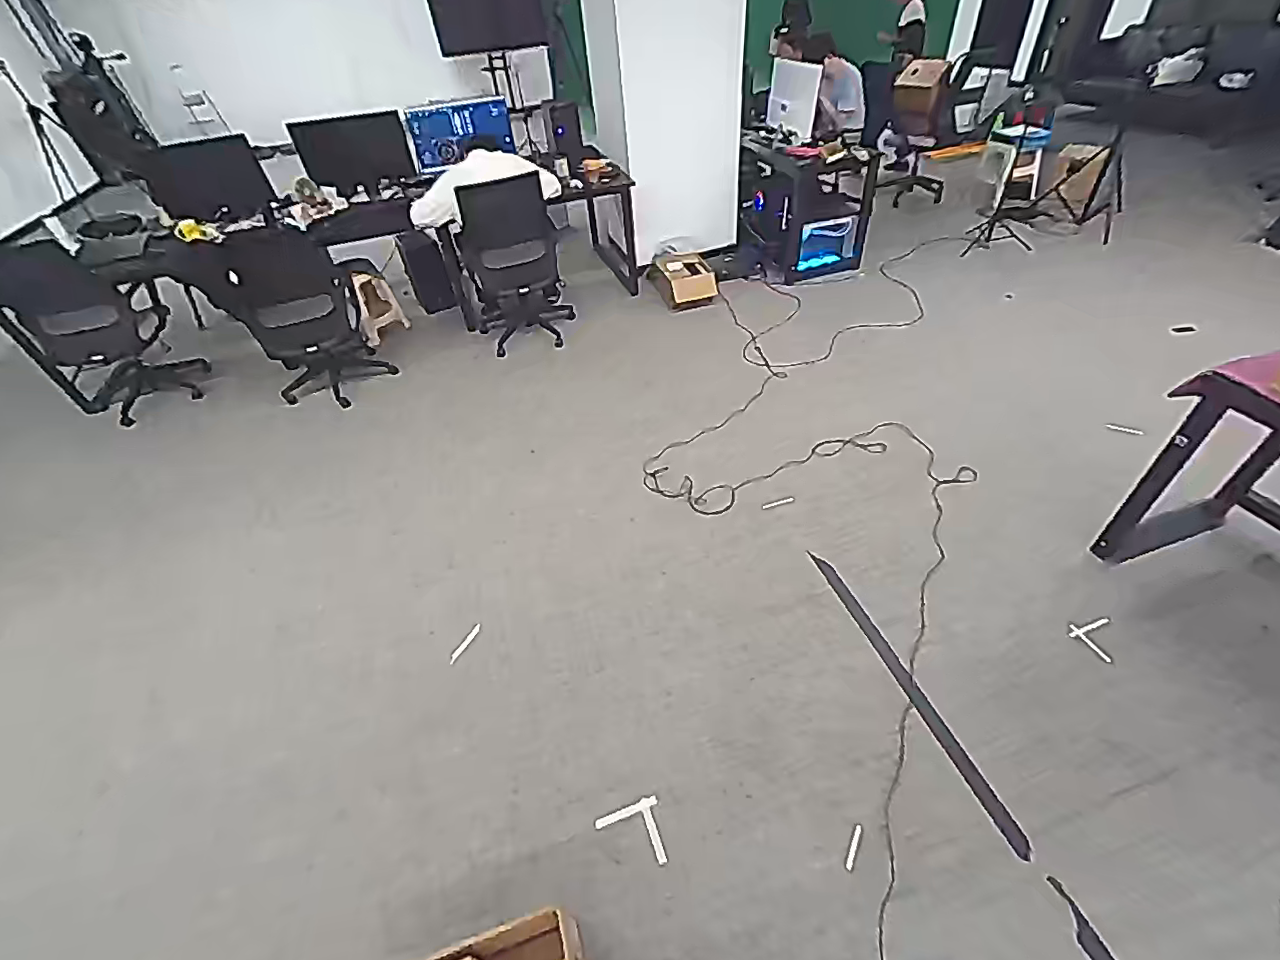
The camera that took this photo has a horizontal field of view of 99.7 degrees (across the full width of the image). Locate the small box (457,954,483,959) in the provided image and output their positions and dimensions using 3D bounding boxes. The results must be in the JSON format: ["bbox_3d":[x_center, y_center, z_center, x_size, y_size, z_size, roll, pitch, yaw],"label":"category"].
[{"bbox_3d":[-0.397,1.108,1.095,0.179,0.176,0.168,-14,44,-11],"label":"small box"}]
